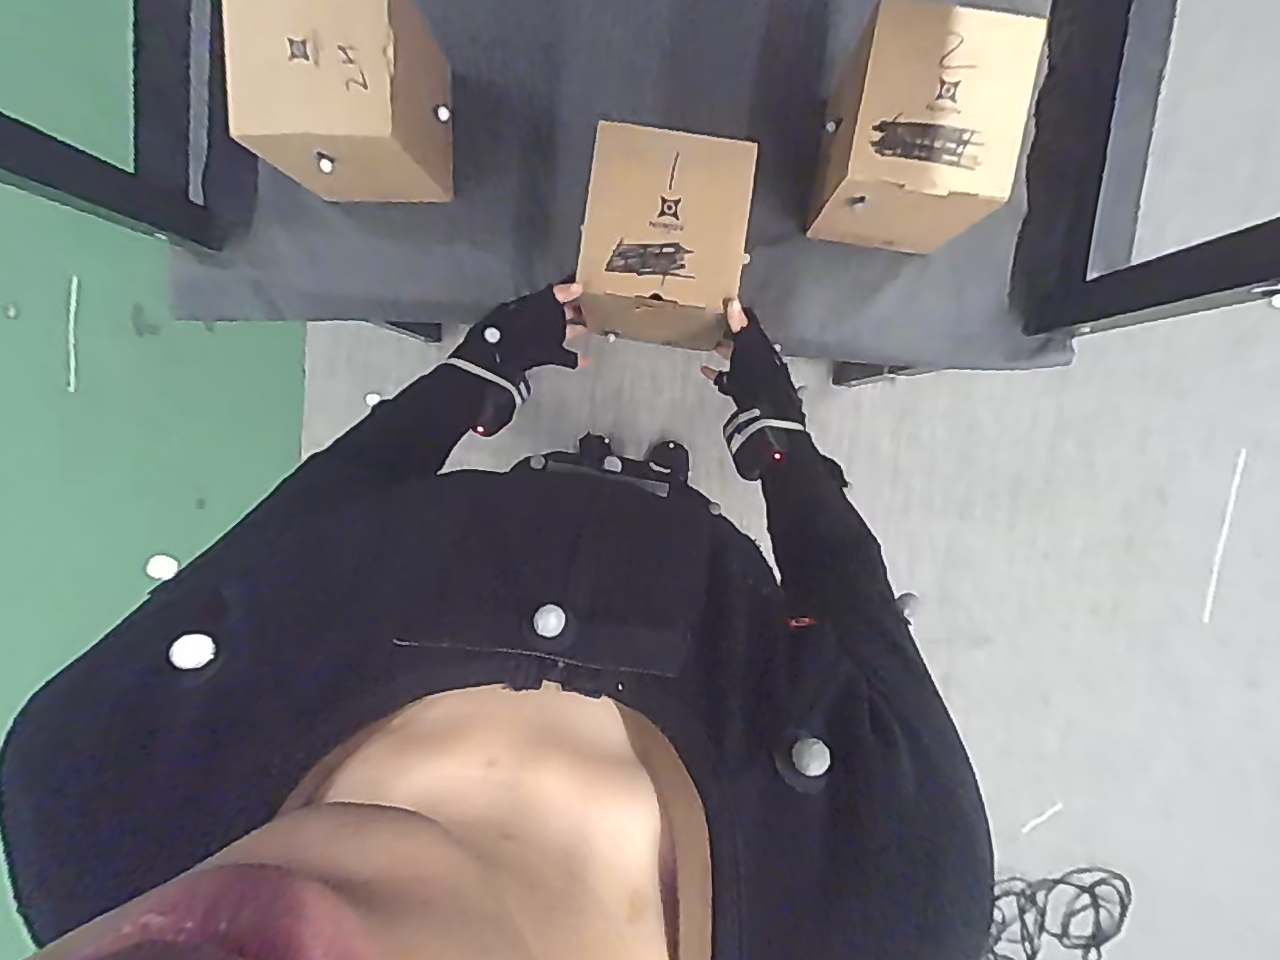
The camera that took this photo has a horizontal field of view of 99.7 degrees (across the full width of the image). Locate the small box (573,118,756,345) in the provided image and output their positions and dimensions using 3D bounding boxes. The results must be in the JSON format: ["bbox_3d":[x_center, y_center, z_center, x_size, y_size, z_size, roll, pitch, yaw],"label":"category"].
[{"bbox_3d":[0.024,-0.268,0.625,0.168,0.176,0.179,8,89,-1],"label":"small box"}]

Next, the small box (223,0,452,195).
[{"bbox_3d":[-0.337,-0.452,0.632,0.179,0.176,0.168,2,97,1],"label":"small box"}]
